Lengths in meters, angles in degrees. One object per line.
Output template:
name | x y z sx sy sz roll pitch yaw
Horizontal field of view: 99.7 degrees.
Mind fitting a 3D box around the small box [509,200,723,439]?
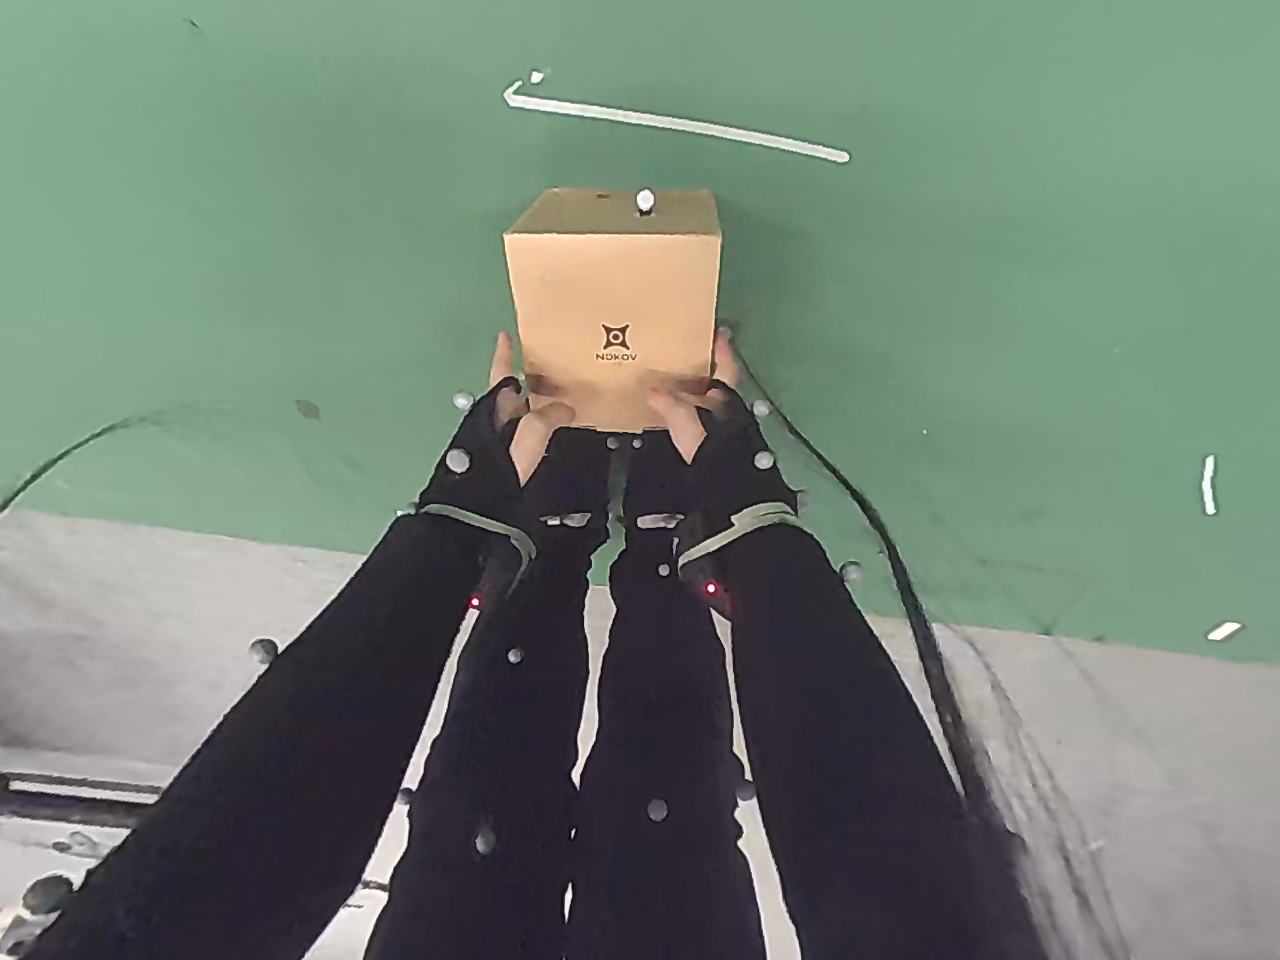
small box | -0.017 -0.159 0.520 0.168 0.176 0.179 2 130 2
